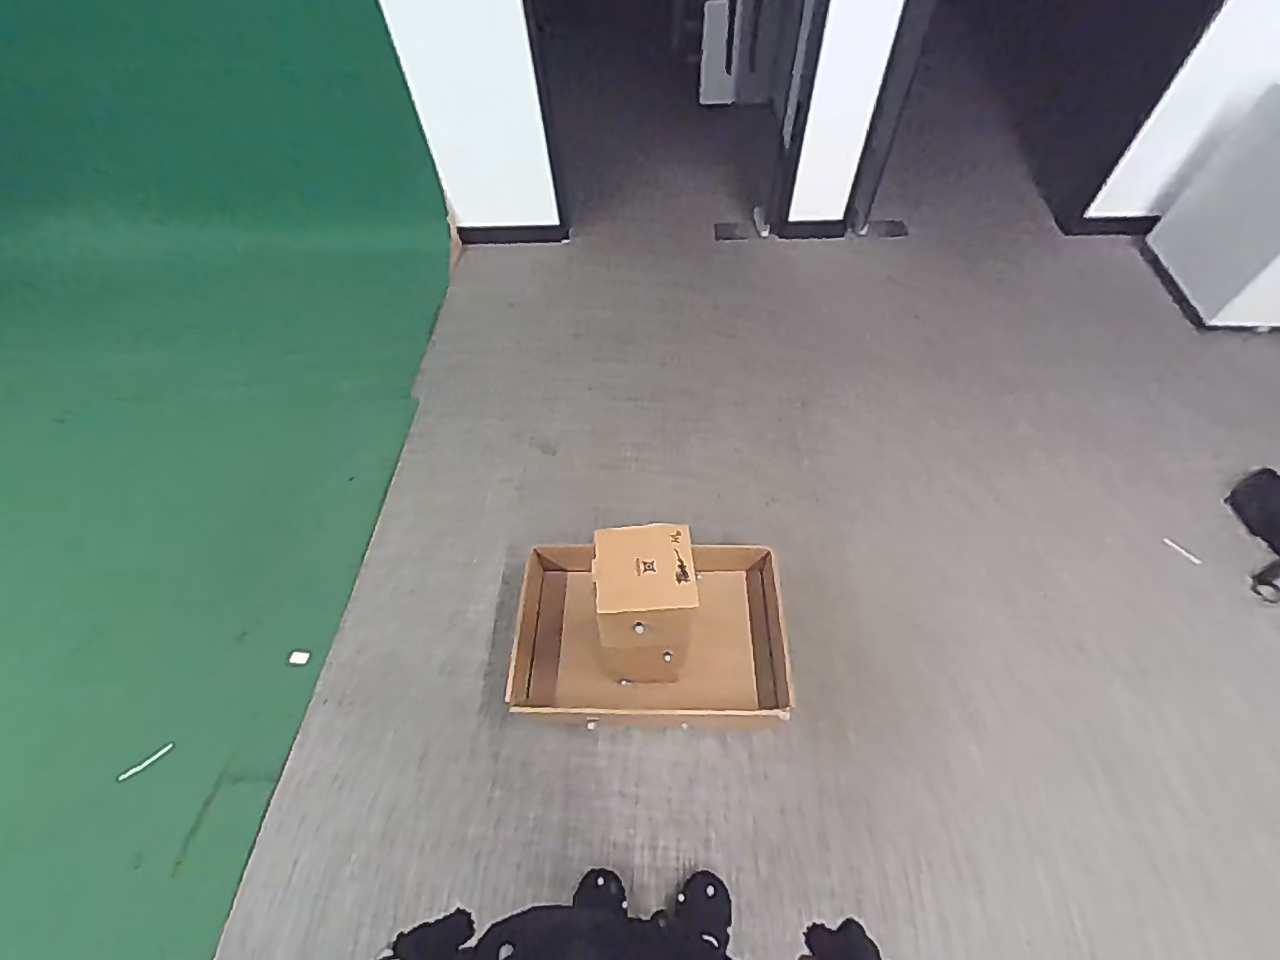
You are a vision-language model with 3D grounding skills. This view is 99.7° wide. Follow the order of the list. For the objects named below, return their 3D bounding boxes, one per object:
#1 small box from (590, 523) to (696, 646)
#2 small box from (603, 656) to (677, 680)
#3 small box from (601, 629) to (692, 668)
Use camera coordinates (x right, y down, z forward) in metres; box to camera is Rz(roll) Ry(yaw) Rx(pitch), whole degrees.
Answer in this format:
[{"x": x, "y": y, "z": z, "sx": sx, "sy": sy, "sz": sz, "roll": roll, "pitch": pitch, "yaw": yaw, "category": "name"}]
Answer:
[{"x": 0.004, "y": 0.202, "z": 1.020, "sx": 0.179, "sy": 0.176, "sz": 0.168, "roll": -6, "pitch": 53, "yaw": -3, "category": "small box"}, {"x": 0.005, "y": 0.373, "z": 1.294, "sx": 0.168, "sy": 0.176, "sz": 0.179, "roll": -1, "pitch": 55, "yaw": 2, "category": "small box"}, {"x": 0.006, "y": 0.286, "z": 1.138, "sx": 0.179, "sy": 0.176, "sz": 0.168, "roll": -5, "pitch": 55, "yaw": -2, "category": "small box"}]
